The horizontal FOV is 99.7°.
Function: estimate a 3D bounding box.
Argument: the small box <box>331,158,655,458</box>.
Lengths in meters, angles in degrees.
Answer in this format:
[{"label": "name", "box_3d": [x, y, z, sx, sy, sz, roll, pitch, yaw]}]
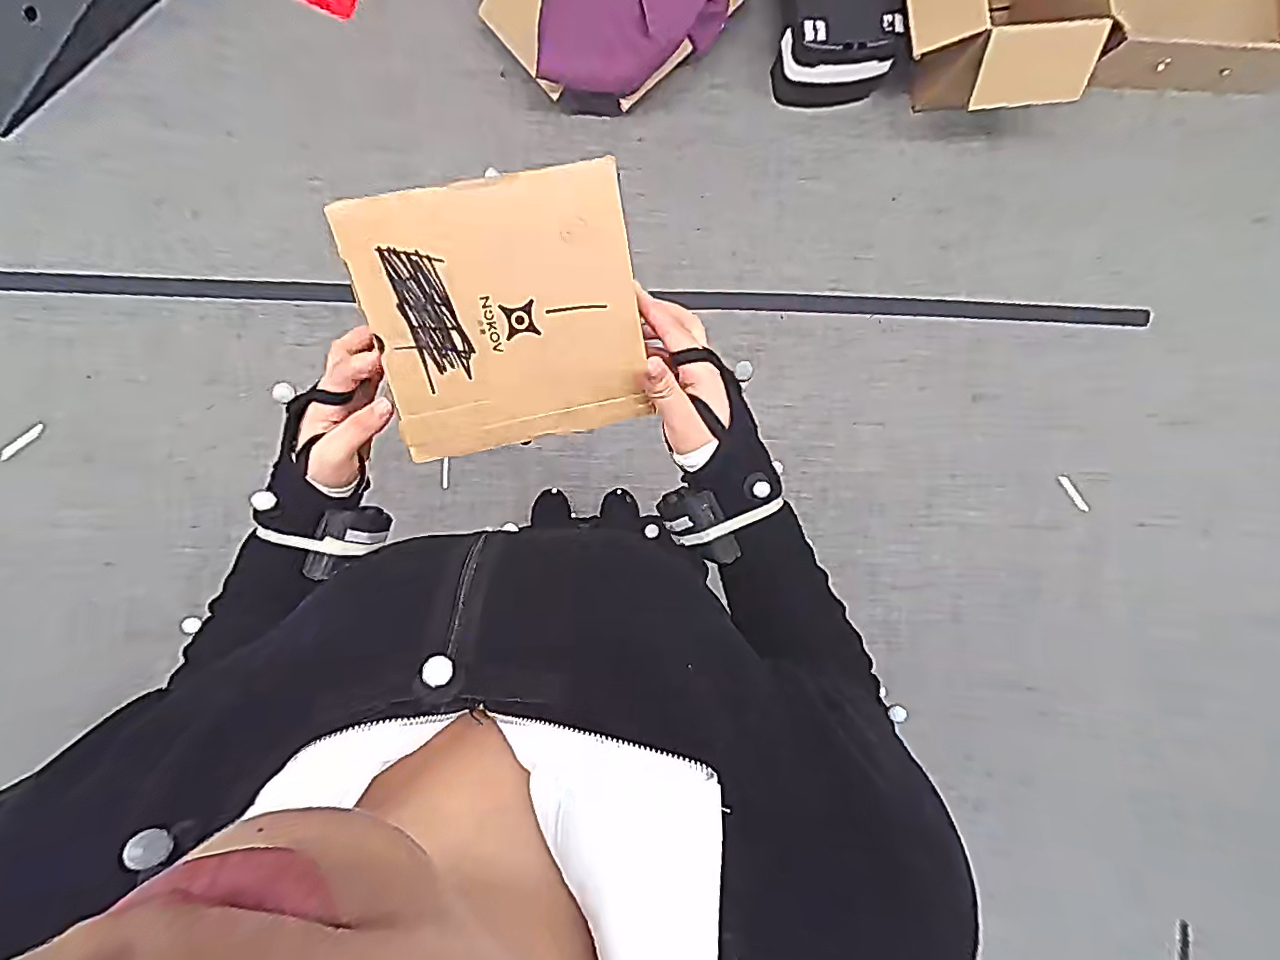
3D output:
[{"label": "small box", "box_3d": [-0.096, -0.131, 0.422, 0.179, 0.176, 0.168, -12, 112, -6]}]
